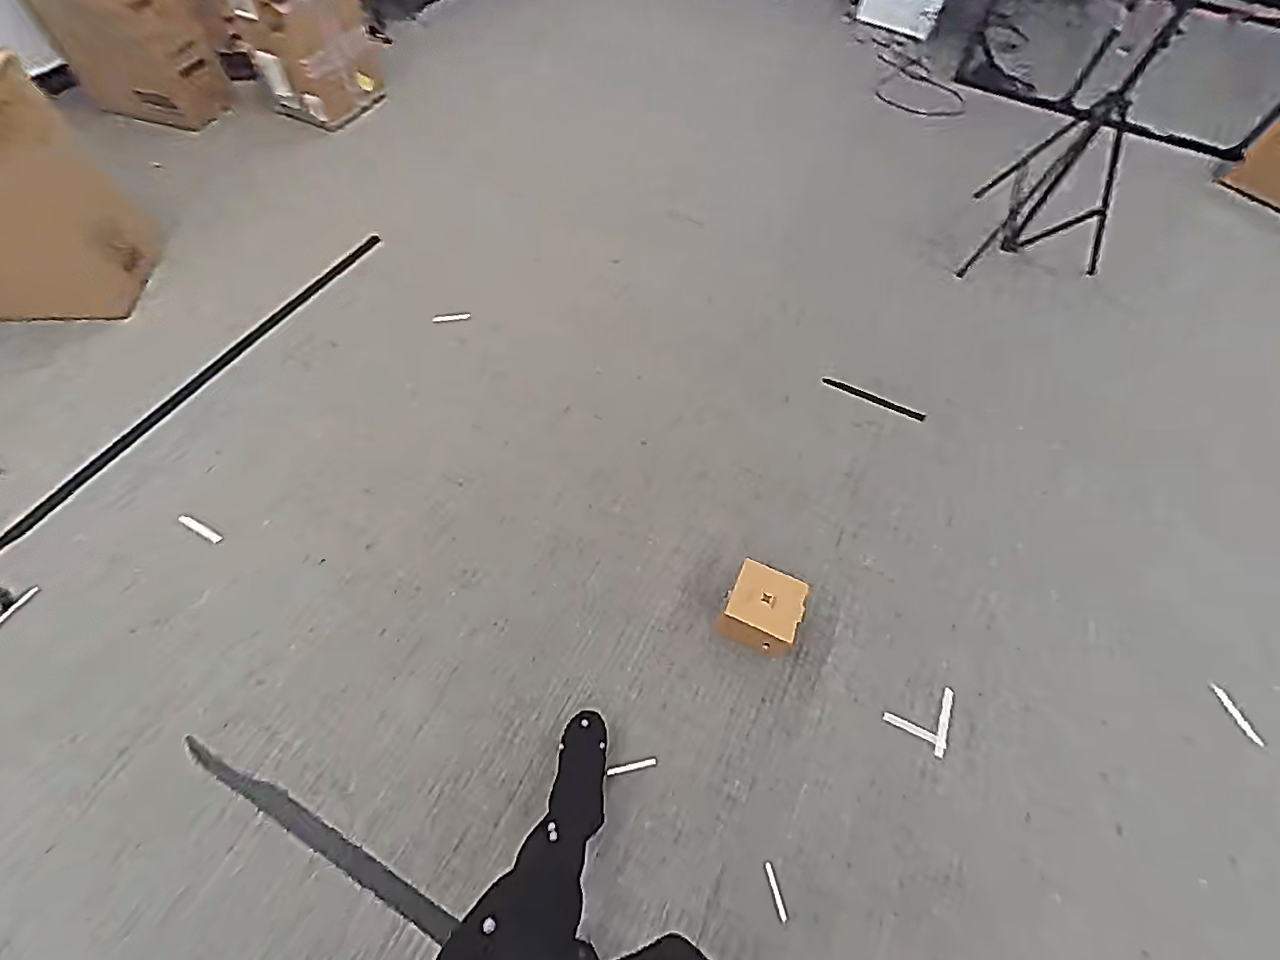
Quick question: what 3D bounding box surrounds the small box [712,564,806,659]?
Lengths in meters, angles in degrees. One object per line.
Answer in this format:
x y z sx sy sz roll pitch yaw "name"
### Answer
0.305 0.351 1.412 0.179 0.176 0.168 22 60 10 "small box"
